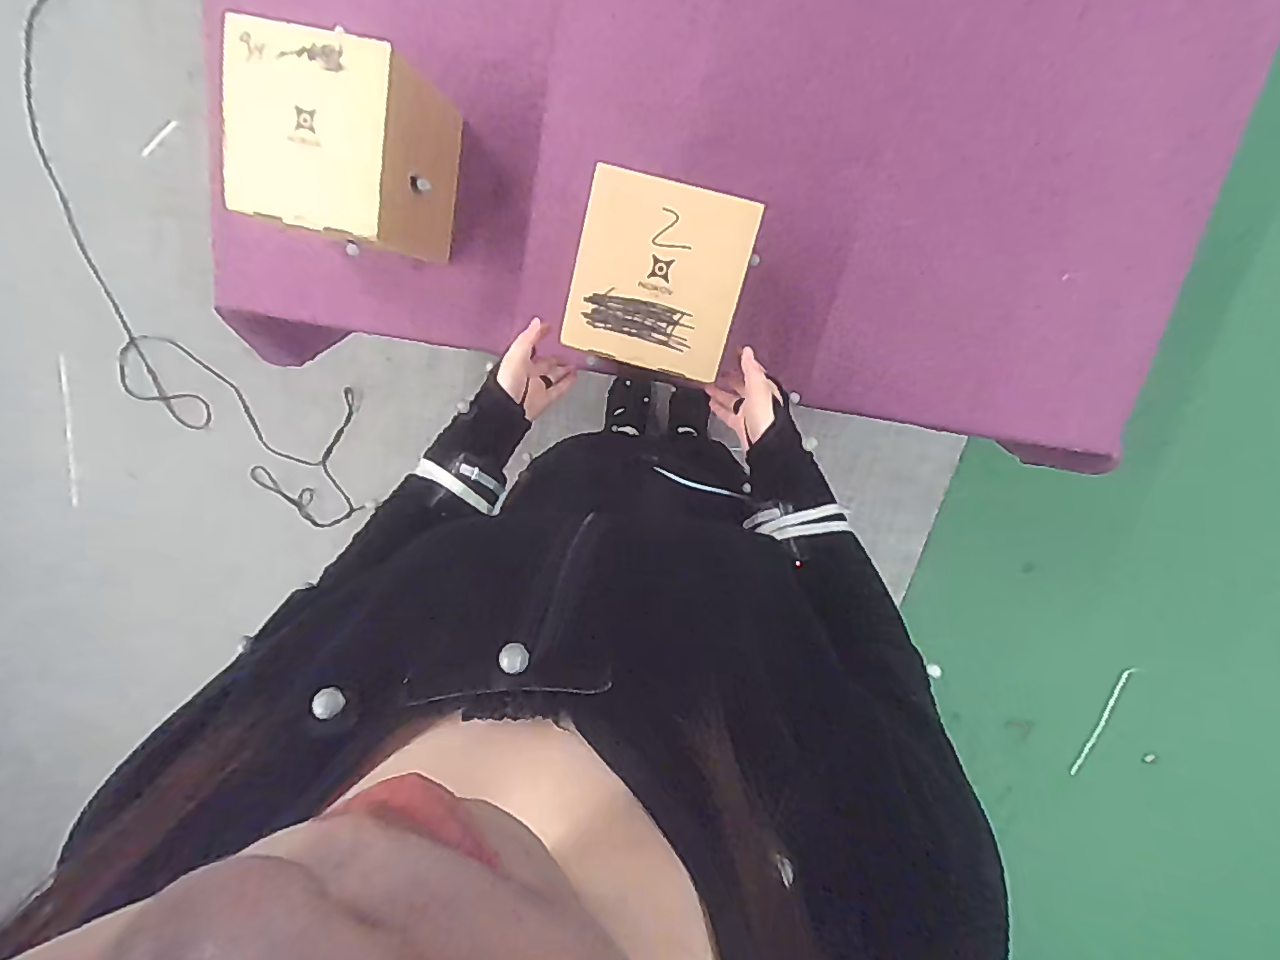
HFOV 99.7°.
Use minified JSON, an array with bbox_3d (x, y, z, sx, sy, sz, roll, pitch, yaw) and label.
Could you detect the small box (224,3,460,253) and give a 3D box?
[{"bbox_3d":[-0.316,-0.365,0.601,0.168,0.176,0.179,13,106,1],"label":"small box"}]
